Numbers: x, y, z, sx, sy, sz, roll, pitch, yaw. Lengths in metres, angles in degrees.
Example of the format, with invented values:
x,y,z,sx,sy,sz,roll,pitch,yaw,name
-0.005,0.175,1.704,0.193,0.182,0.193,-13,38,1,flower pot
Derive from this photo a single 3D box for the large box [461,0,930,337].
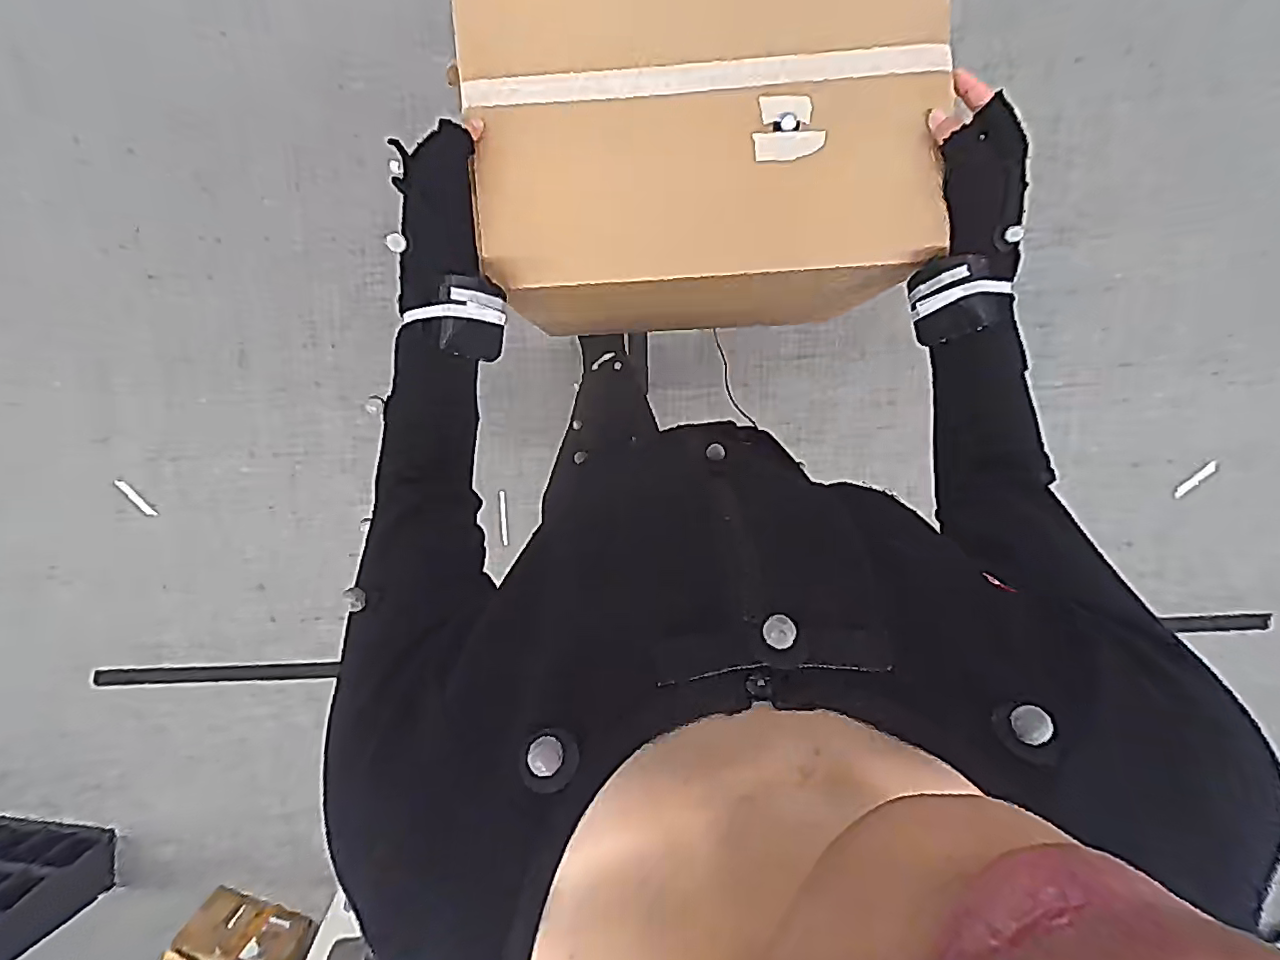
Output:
x,y,z,sx,sy,sz,roll,pitch,yaw,name
0.050,-0.356,0.617,0.408,0.320,0.320,-4,97,1,large box
